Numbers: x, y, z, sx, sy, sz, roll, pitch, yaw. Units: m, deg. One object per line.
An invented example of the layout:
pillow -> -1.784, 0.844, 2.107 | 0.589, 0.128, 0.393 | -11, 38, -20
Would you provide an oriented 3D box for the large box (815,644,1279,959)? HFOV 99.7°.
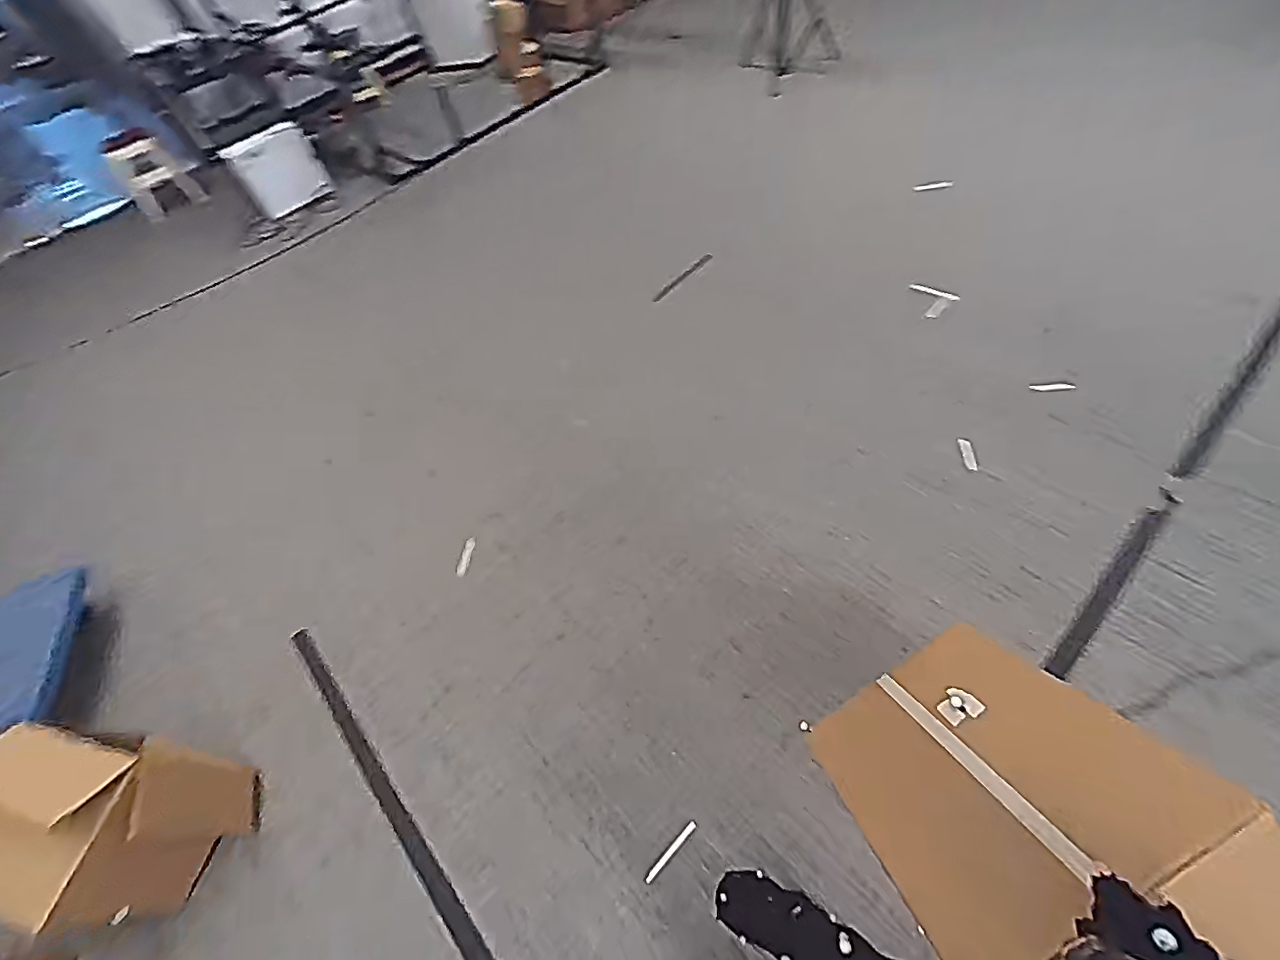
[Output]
large box -> 0.503, 0.488, 0.687 | 0.320, 0.320, 0.408 | -34, 7, 0
